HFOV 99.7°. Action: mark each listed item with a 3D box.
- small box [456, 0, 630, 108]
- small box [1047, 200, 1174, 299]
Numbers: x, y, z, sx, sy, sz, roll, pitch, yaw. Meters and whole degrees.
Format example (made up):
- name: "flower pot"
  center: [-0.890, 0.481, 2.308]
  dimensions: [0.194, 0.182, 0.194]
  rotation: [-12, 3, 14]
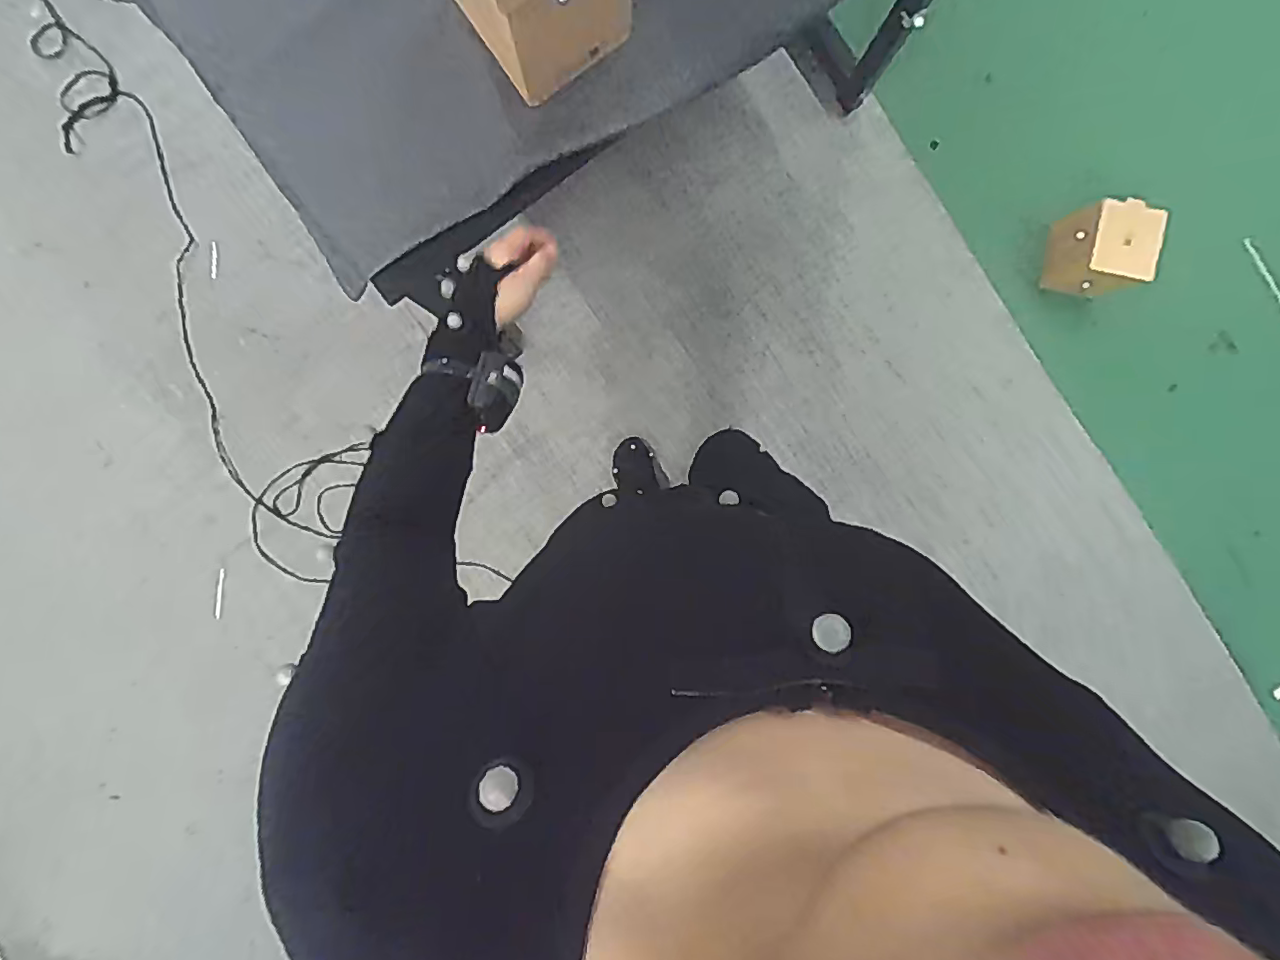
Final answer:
- name: "small box"
  center: [-0.125, -0.592, 0.626]
  dimensions: [0.168, 0.176, 0.179]
  rotation: [-36, 93, 1]
- name: "small box"
  center: [1.198, -0.583, 1.391]
  dimensions: [0.168, 0.176, 0.179]
  rotation: [10, 93, -2]
